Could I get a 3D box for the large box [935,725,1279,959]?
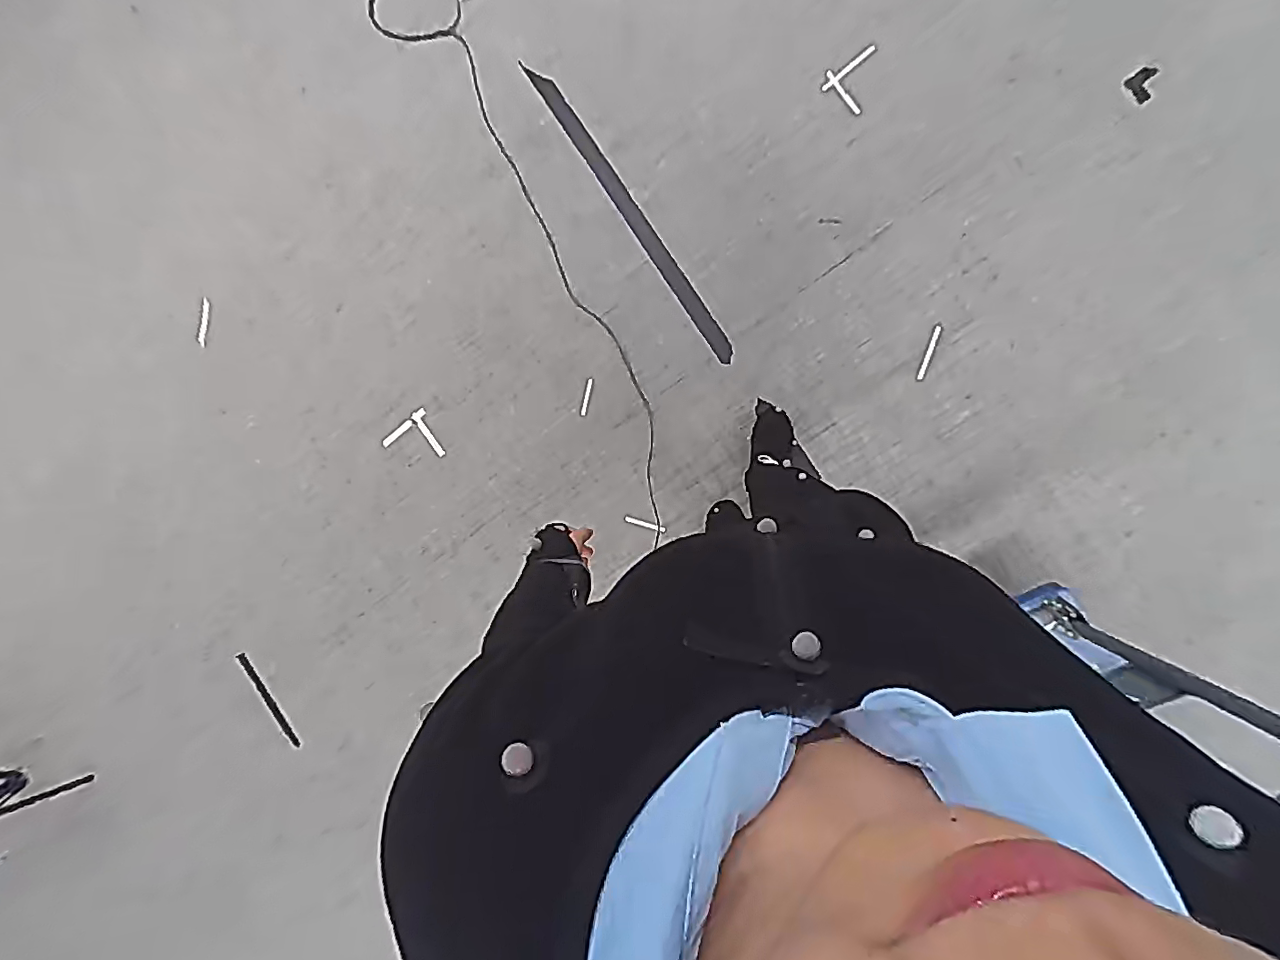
[{"bbox_3d":[0.884,0.754,1.048,0.408,0.320,0.320,-28,88,10],"label":"large box"}]
